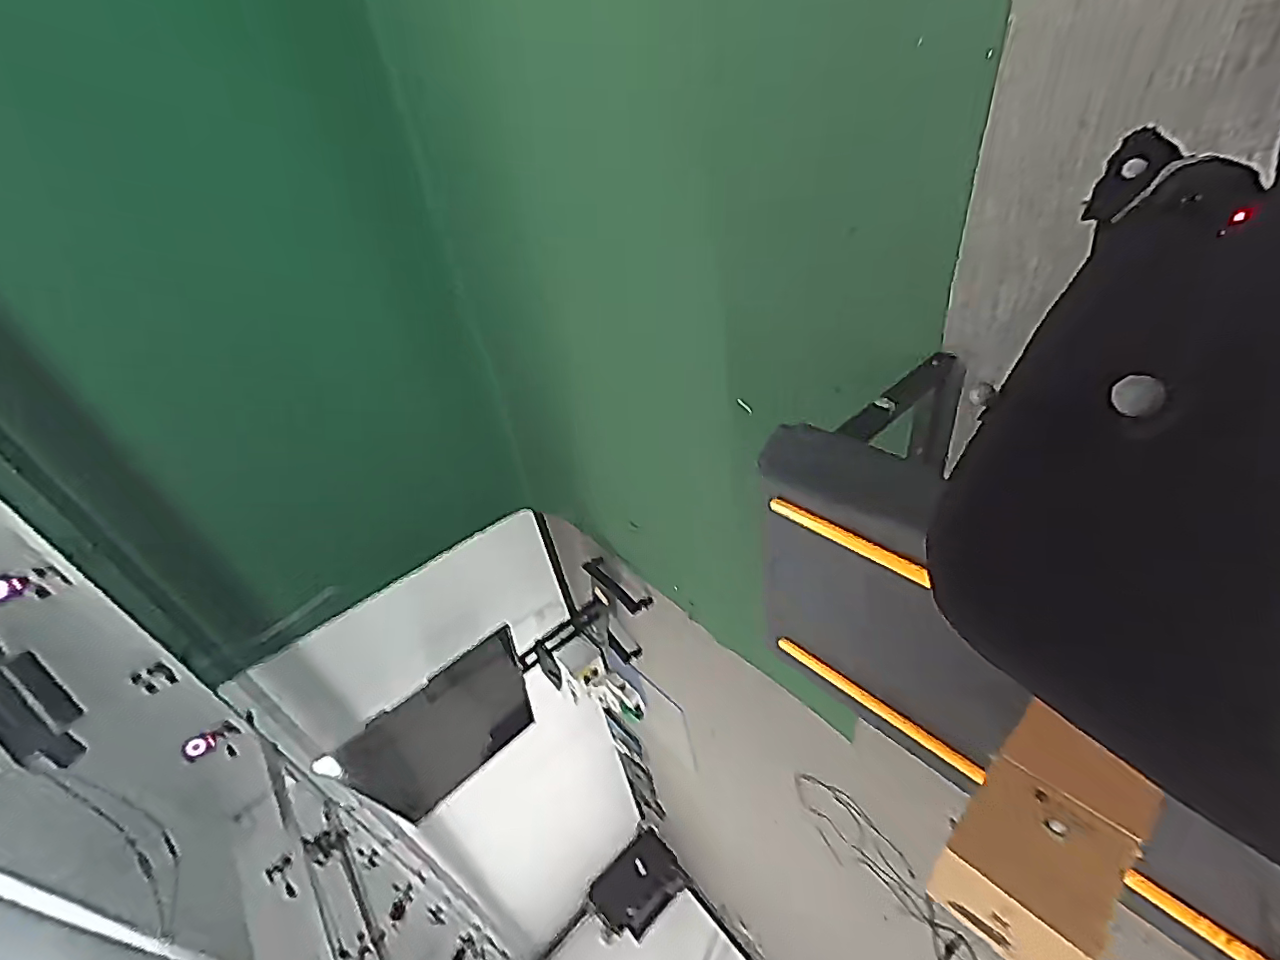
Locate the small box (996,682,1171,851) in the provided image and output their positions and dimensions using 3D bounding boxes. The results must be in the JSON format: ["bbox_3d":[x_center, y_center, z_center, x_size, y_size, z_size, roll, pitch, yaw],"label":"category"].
[{"bbox_3d":[0.647,0.449,0.811,0.168,0.176,0.179,26,138,43],"label":"small box"}]

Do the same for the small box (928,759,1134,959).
[{"bbox_3d":[0.525,0.530,0.737,0.168,0.176,0.179,27,140,42],"label":"small box"}]
